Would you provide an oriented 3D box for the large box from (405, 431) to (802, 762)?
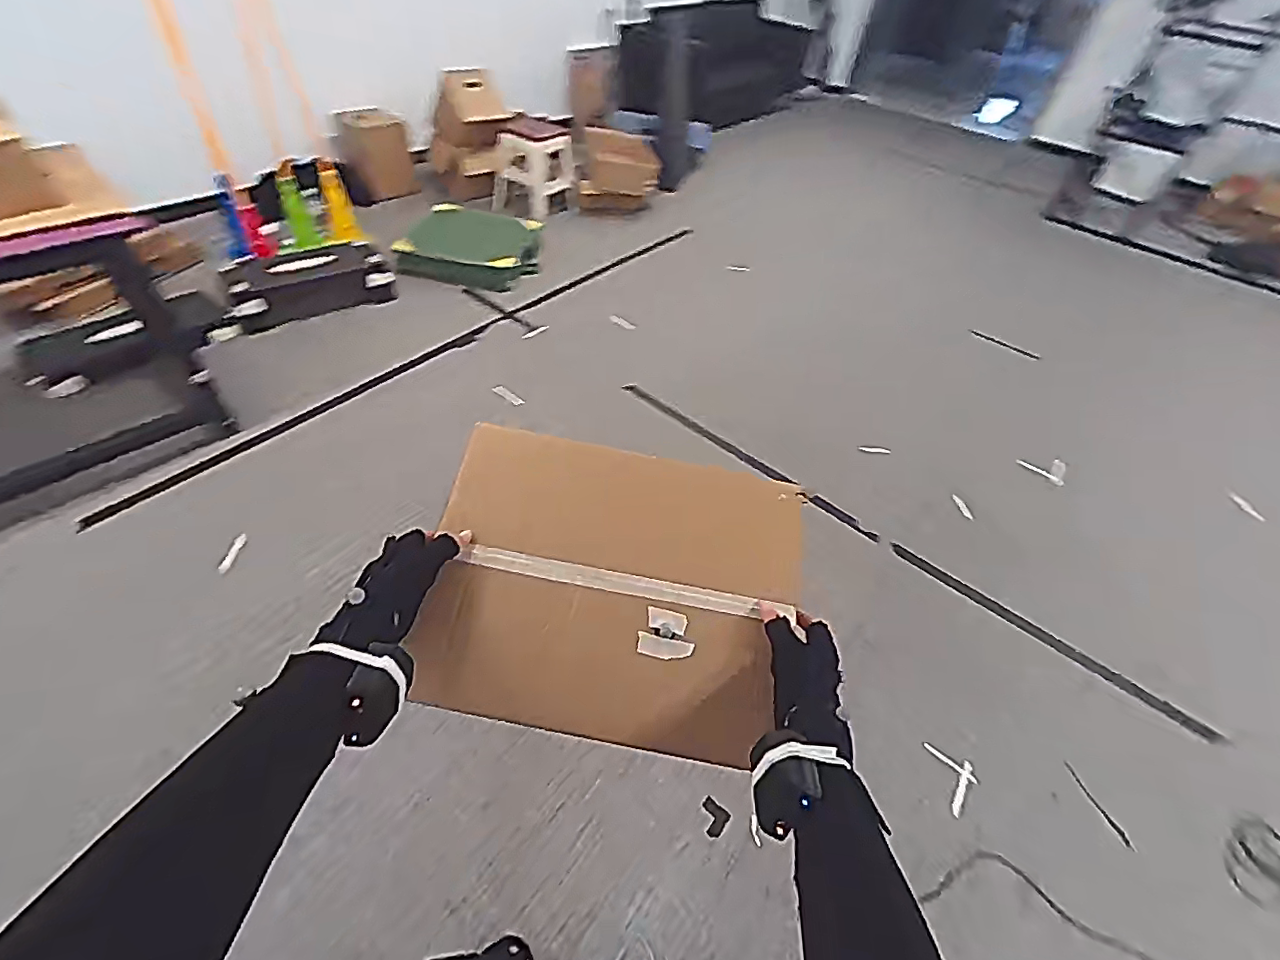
[{"bbox_3d":[-0.032,0.168,0.745,0.408,0.320,0.320,12,69,1],"label":"large box"}]
